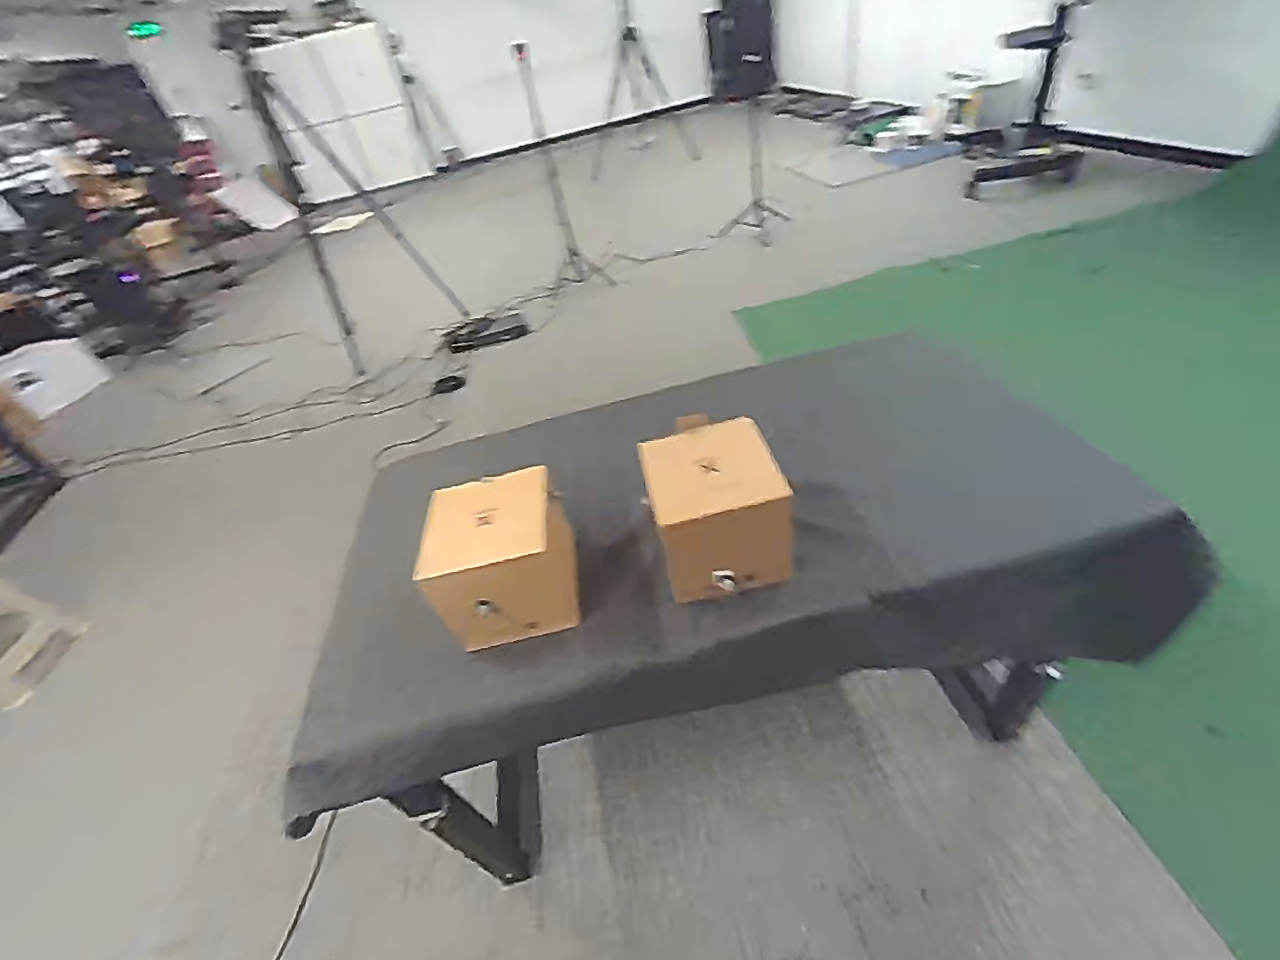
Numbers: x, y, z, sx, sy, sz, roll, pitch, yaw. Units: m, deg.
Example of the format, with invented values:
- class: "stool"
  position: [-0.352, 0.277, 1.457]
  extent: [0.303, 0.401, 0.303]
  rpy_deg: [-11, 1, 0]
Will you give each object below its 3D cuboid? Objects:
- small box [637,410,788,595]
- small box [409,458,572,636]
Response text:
- class: "small box"
  position: [0.100, 0.032, 0.762]
  extent: [0.168, 0.176, 0.179]
  rpy_deg: [-15, 41, 1]
- class: "small box"
  position: [-0.197, 0.100, 0.766]
  extent: [0.168, 0.176, 0.179]
  rpy_deg: [-14, 39, 0]
